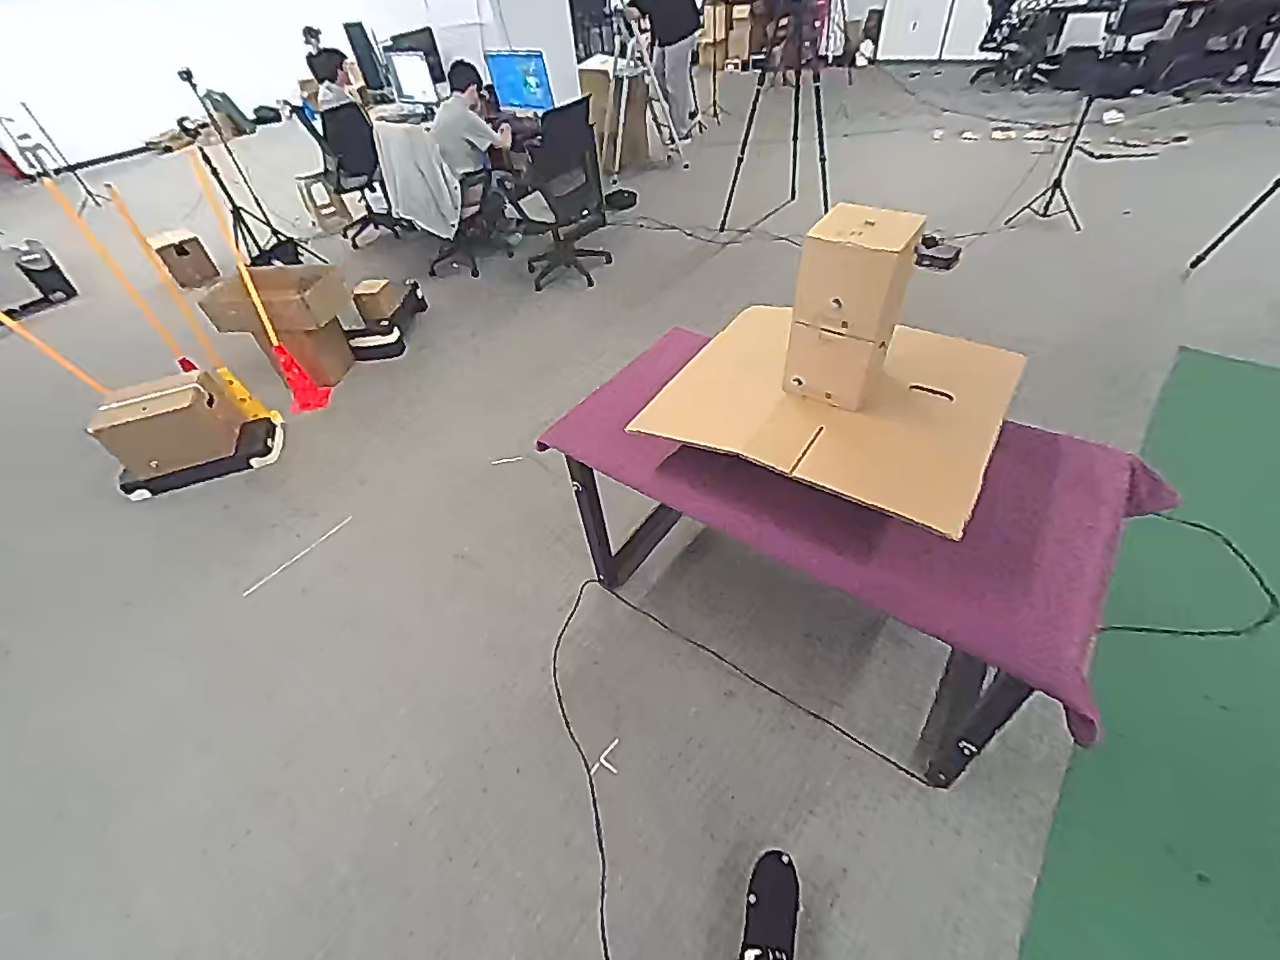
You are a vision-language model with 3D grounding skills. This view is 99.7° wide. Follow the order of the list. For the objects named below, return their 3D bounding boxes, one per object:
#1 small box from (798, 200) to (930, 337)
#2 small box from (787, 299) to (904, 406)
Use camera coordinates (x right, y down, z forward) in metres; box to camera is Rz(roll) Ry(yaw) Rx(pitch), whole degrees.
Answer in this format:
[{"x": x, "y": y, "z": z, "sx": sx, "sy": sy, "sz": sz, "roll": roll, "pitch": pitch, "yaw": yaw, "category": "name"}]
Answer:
[{"x": 0.410, "y": -0.397, "z": 1.013, "sx": 0.168, "sy": 0.176, "sz": 0.179, "roll": 25, "pitch": 54, "yaw": 26, "category": "small box"}, {"x": 0.421, "y": -0.282, "z": 1.130, "sx": 0.168, "sy": 0.176, "sz": 0.179, "roll": 25, "pitch": 53, "yaw": 25, "category": "small box"}]
